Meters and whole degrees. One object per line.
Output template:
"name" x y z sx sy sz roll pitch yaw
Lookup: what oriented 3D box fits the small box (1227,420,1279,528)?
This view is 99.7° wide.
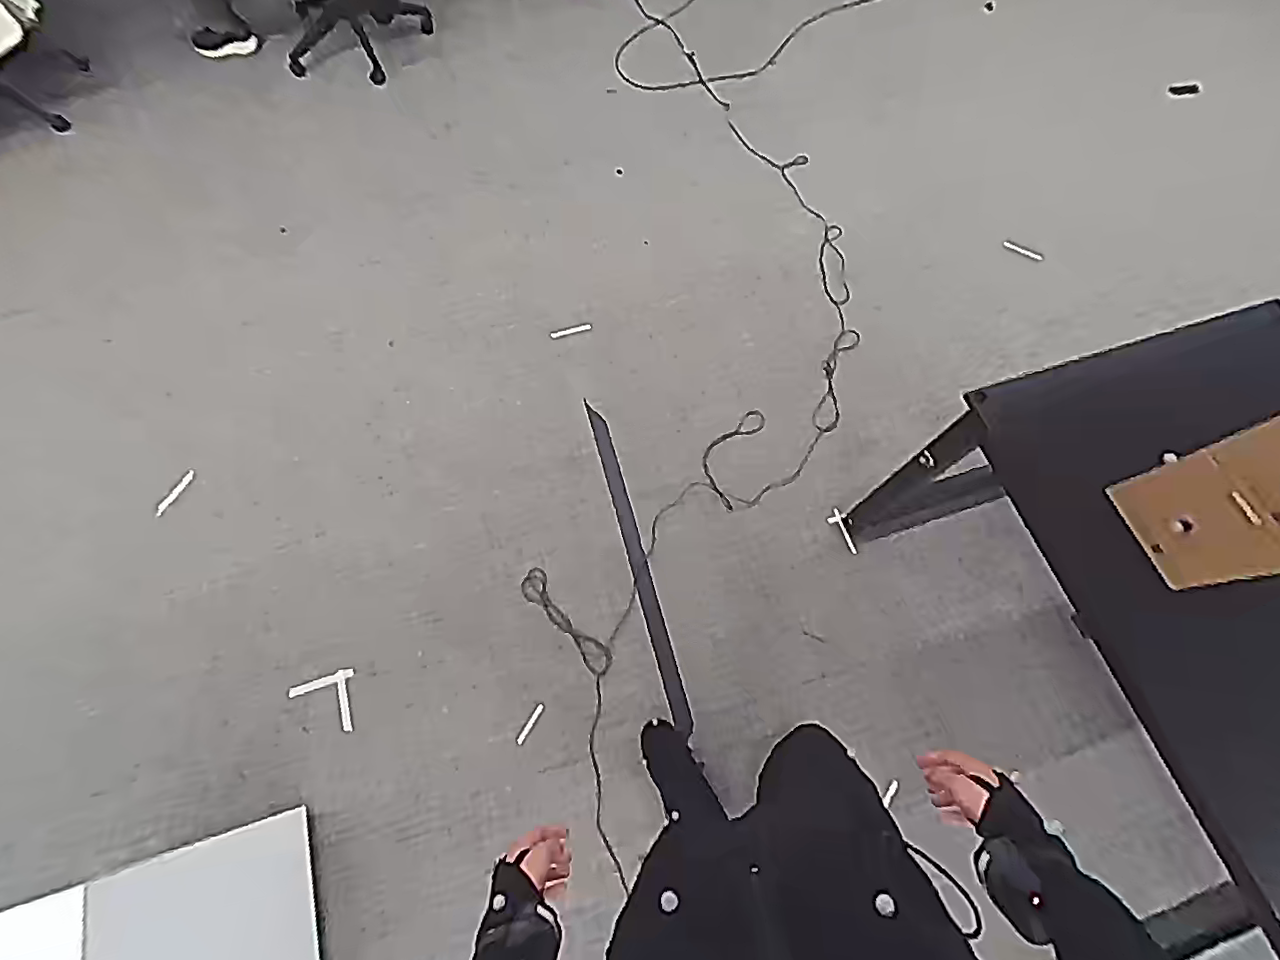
"small box" 0.824 -0.023 0.578 0.179 0.176 0.168 -18 69 -5

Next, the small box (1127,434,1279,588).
"small box" 0.826 0.035 0.732 0.179 0.176 0.168 -18 70 -5
